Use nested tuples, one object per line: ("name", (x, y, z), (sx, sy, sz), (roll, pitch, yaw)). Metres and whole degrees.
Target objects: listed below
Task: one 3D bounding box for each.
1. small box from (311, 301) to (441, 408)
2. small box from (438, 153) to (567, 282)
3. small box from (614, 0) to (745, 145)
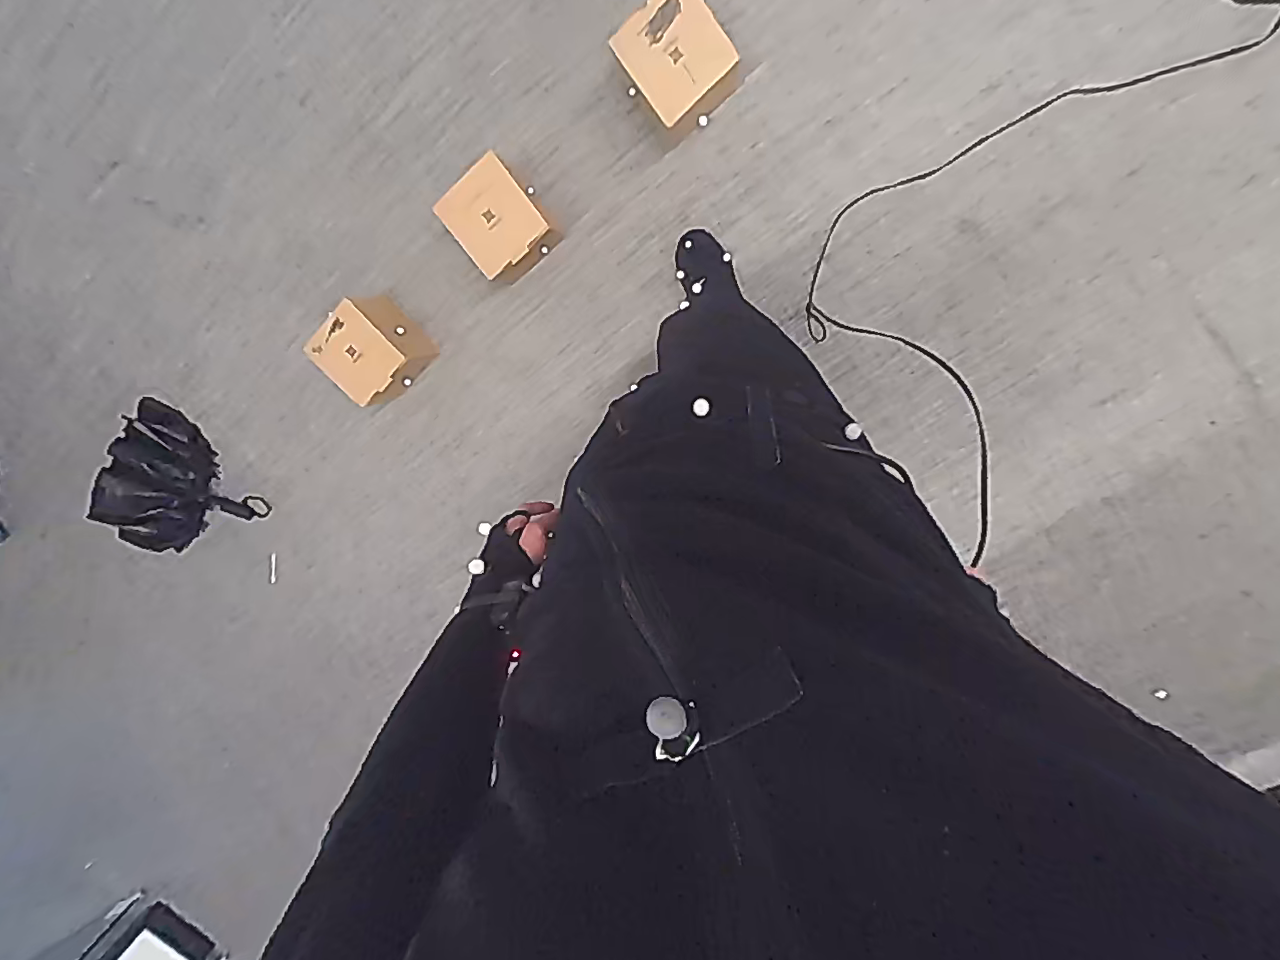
("small box", (-0.598, -0.298, 1.250), (0.168, 0.176, 0.179), (-40, 101, 16))
("small box", (-0.278, -0.539, 1.138), (0.168, 0.176, 0.179), (-37, 101, 15))
("small box", (0.074, -0.776, 1.018), (0.168, 0.176, 0.179), (-37, 102, 17))
